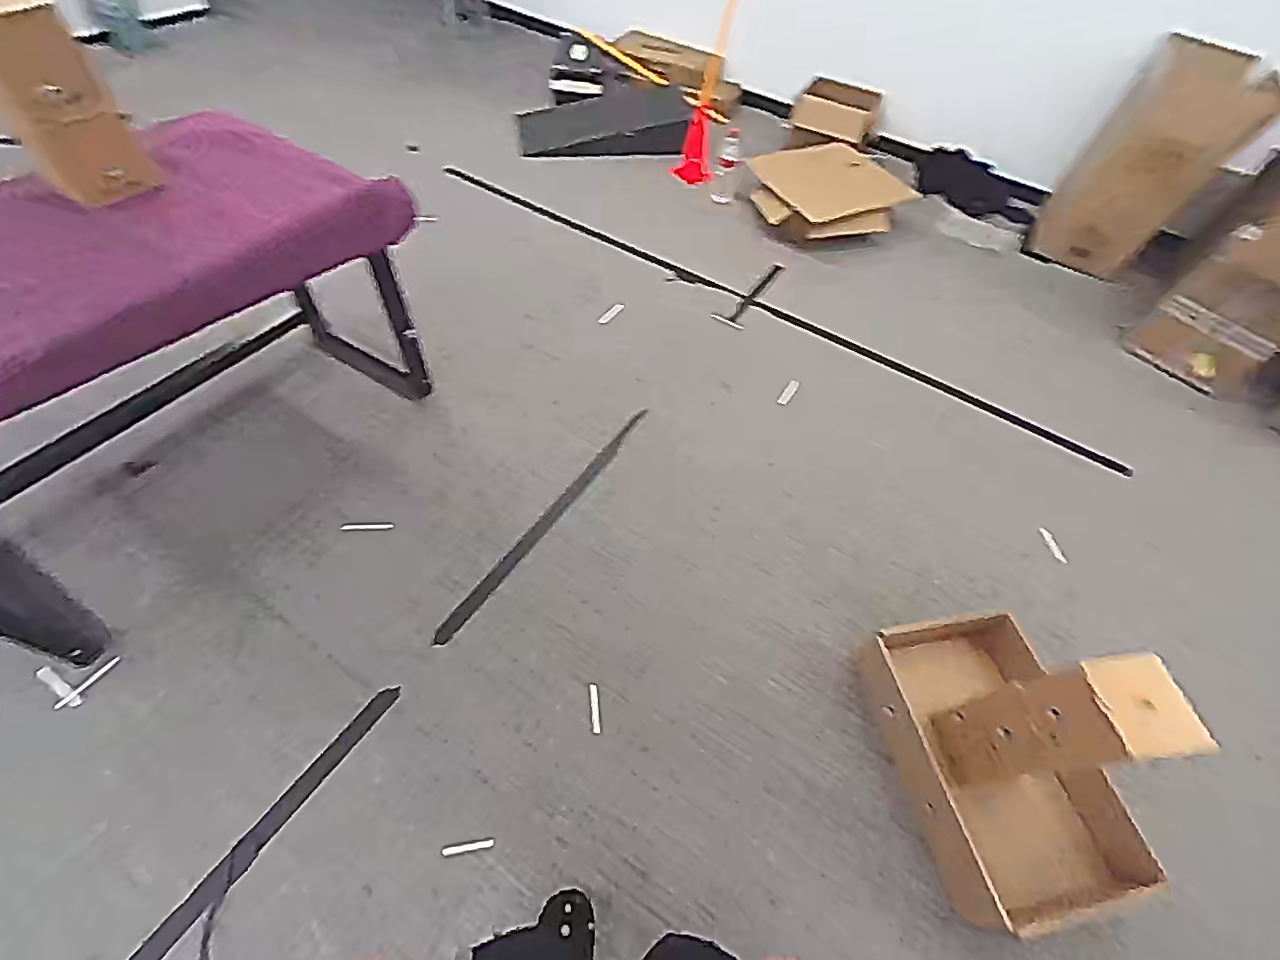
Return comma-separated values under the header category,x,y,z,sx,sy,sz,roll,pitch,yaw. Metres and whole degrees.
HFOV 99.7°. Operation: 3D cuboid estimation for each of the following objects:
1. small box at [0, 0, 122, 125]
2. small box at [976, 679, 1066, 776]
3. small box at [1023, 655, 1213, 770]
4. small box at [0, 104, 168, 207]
category,x,y,z,sx,sy,sz,roll,pitch,yaw
small box,-1.202,-0.832,1.061,0.179,0.176,0.168,29,58,12
small box,0.872,0.535,1.172,0.179,0.176,0.168,-3,56,-8
small box,0.897,0.447,1.036,0.179,0.176,0.168,-3,57,-9
small box,-1.215,-0.734,1.190,0.179,0.176,0.168,31,59,14
